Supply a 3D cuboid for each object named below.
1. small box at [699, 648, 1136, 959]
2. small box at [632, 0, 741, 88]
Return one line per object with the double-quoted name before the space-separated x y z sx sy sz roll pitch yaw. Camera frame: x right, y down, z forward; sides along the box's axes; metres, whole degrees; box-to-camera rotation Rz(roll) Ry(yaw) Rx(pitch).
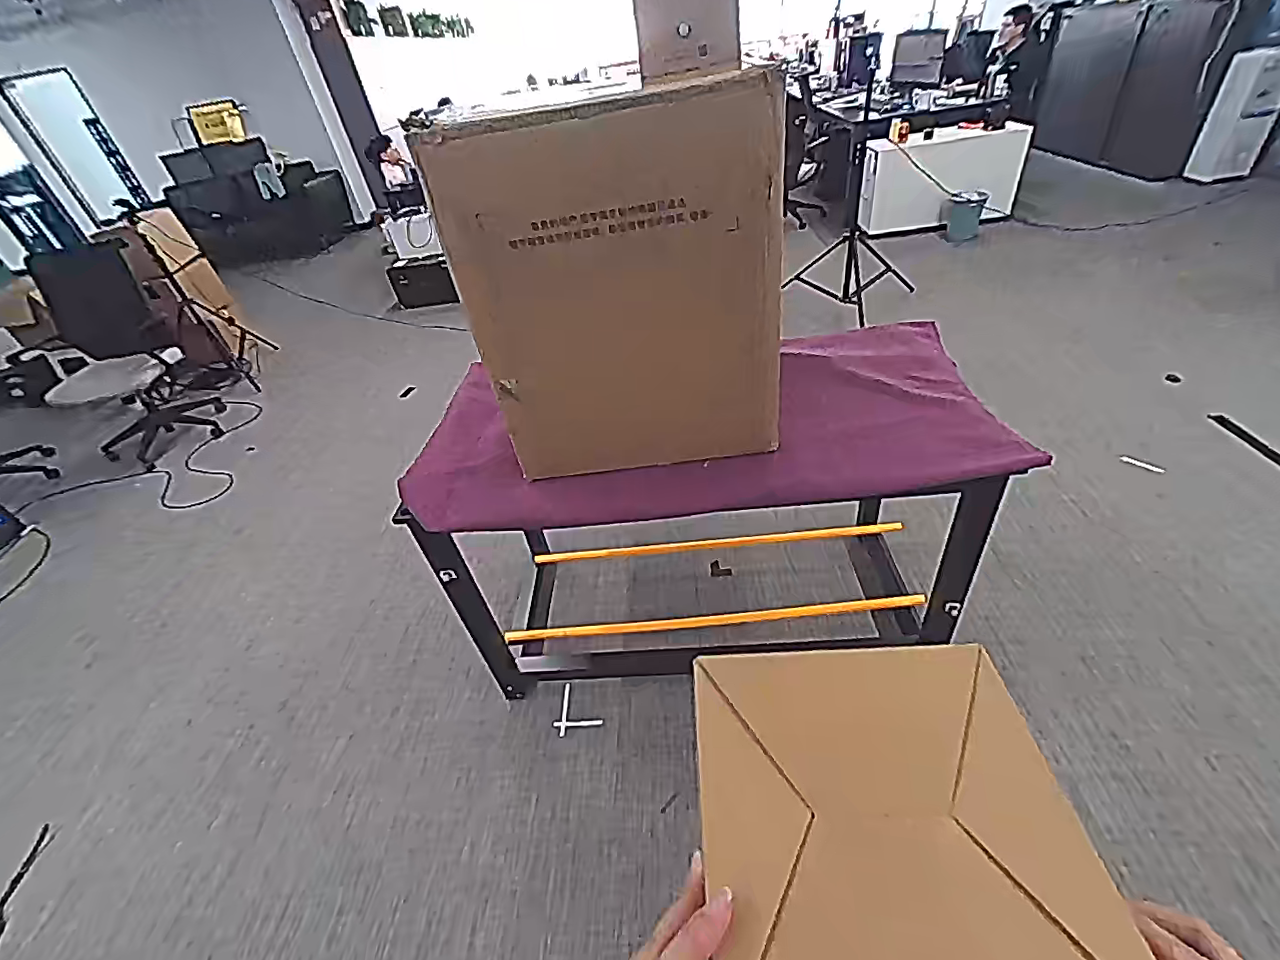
"small box" 0.122 0.221 0.301 0.168 0.176 0.179 -4 37 6
"small box" 0.074 -0.763 0.892 0.168 0.176 0.179 -6 39 7
